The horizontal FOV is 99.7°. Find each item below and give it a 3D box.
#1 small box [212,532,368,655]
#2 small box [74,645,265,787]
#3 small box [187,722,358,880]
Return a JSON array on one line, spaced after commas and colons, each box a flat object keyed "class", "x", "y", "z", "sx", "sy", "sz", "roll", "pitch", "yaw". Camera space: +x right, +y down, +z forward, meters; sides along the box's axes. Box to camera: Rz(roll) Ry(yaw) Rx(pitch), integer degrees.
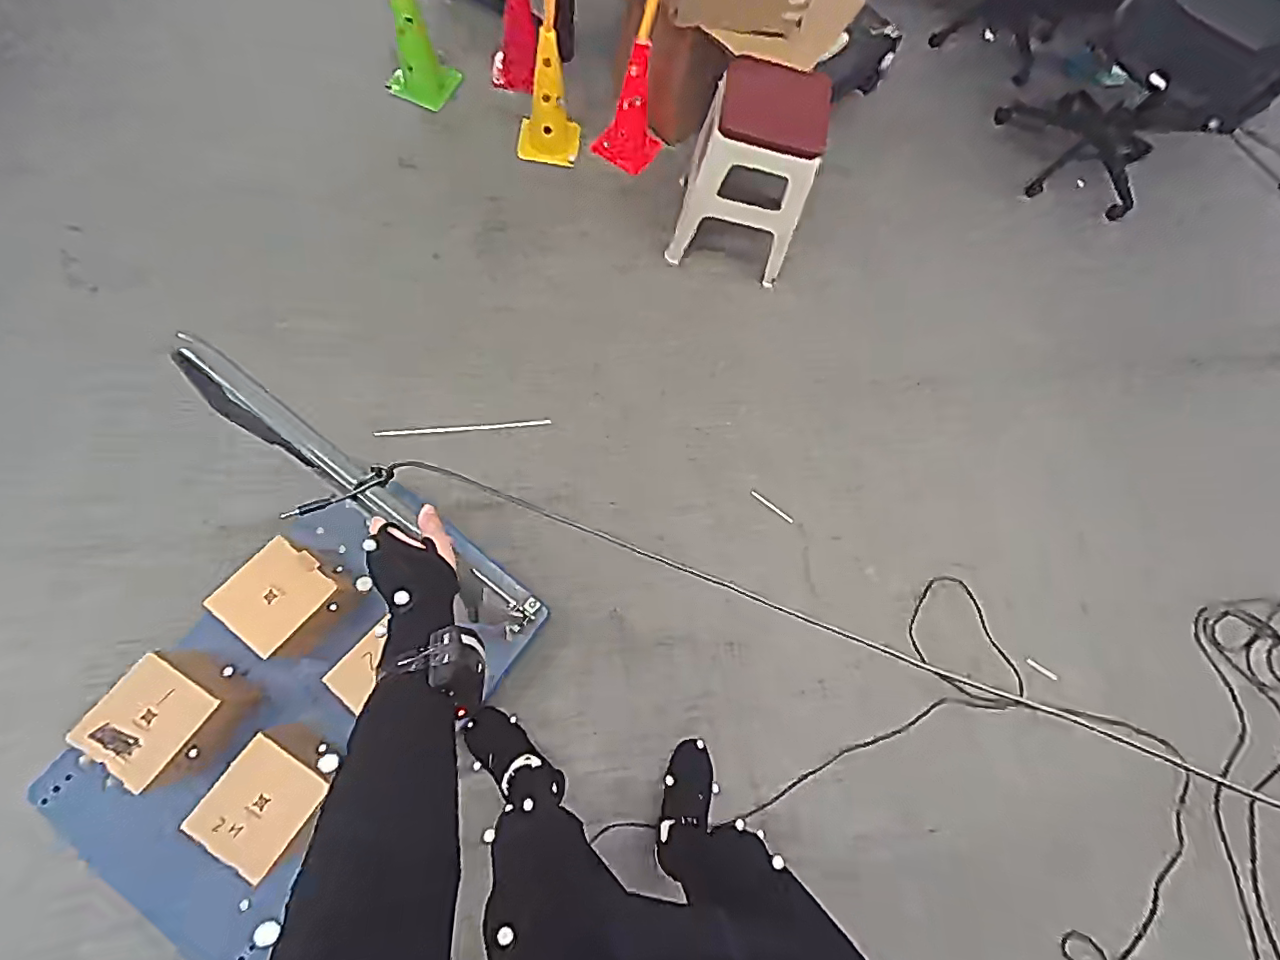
[{"class": "small box", "x": -0.700, "y": 0.238, "z": 1.105, "sx": 0.168, "sy": 0.176, "sz": 0.179, "roll": 39, "pitch": 71, "yaw": 6}, {"class": "small box", "x": -0.865, "y": 0.433, "z": 1.018, "sx": 0.168, "sy": 0.176, "sz": 0.179, "roll": 35, "pitch": 70, "yaw": 4}, {"class": "small box", "x": -0.658, "y": 0.575, "z": 1.001, "sx": 0.168, "sy": 0.176, "sz": 0.179, "roll": 34, "pitch": 71, "yaw": 5}]
